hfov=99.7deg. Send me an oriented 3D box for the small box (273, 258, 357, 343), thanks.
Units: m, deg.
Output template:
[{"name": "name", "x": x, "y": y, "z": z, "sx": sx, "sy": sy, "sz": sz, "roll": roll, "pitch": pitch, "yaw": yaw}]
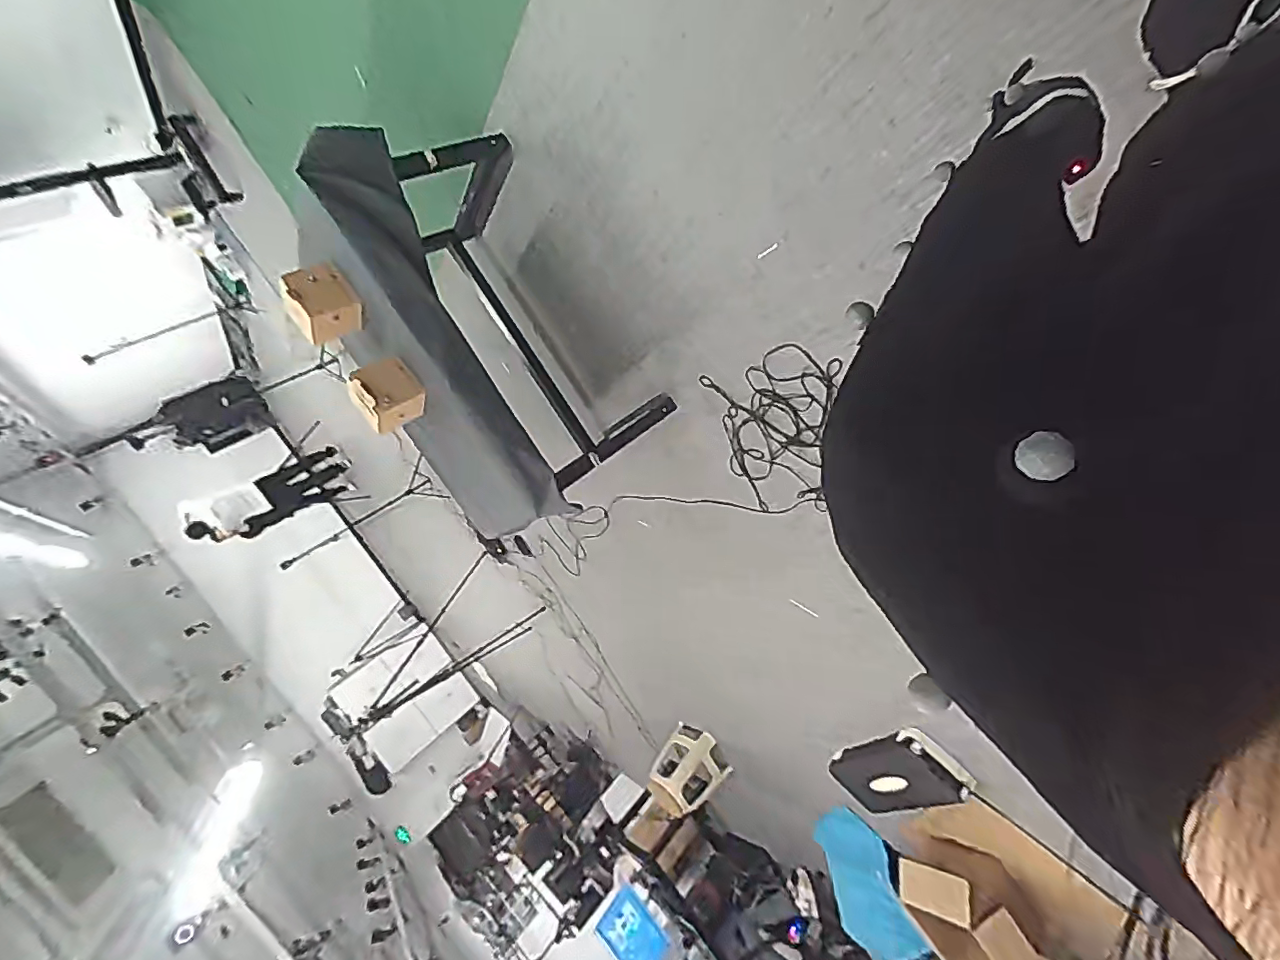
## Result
[{"name": "small box", "x": -1.030, "y": -0.578, "z": 1.730, "sx": 0.168, "sy": 0.176, "sz": 0.179, "roll": 54, "pitch": 149, "yaw": 0}]
